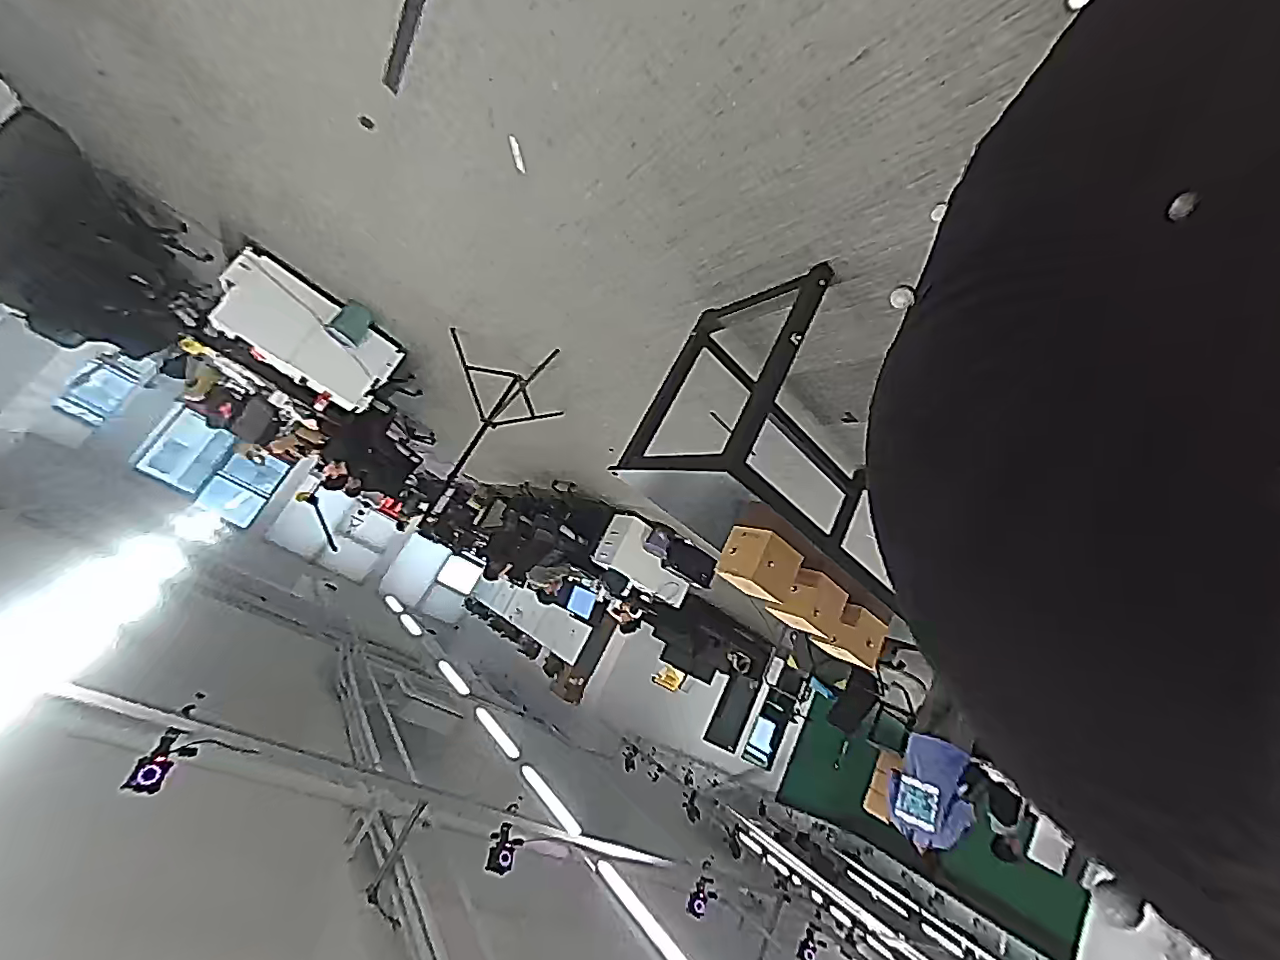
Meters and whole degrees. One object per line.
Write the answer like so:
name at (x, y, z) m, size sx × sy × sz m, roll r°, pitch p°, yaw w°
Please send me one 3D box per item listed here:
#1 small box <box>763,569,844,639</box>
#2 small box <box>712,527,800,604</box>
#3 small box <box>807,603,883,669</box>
small box at (0.554, 0.409, 1.827) m, size 0.179 × 0.176 × 0.168 m, roll 37°, pitch 162°, yaw -30°
small box at (0.366, 0.262, 1.694) m, size 0.179 × 0.176 × 0.168 m, roll 36°, pitch 164°, yaw -29°
small box at (0.746, 0.554, 1.957) m, size 0.179 × 0.176 × 0.168 m, roll 36°, pitch 162°, yaw -27°
